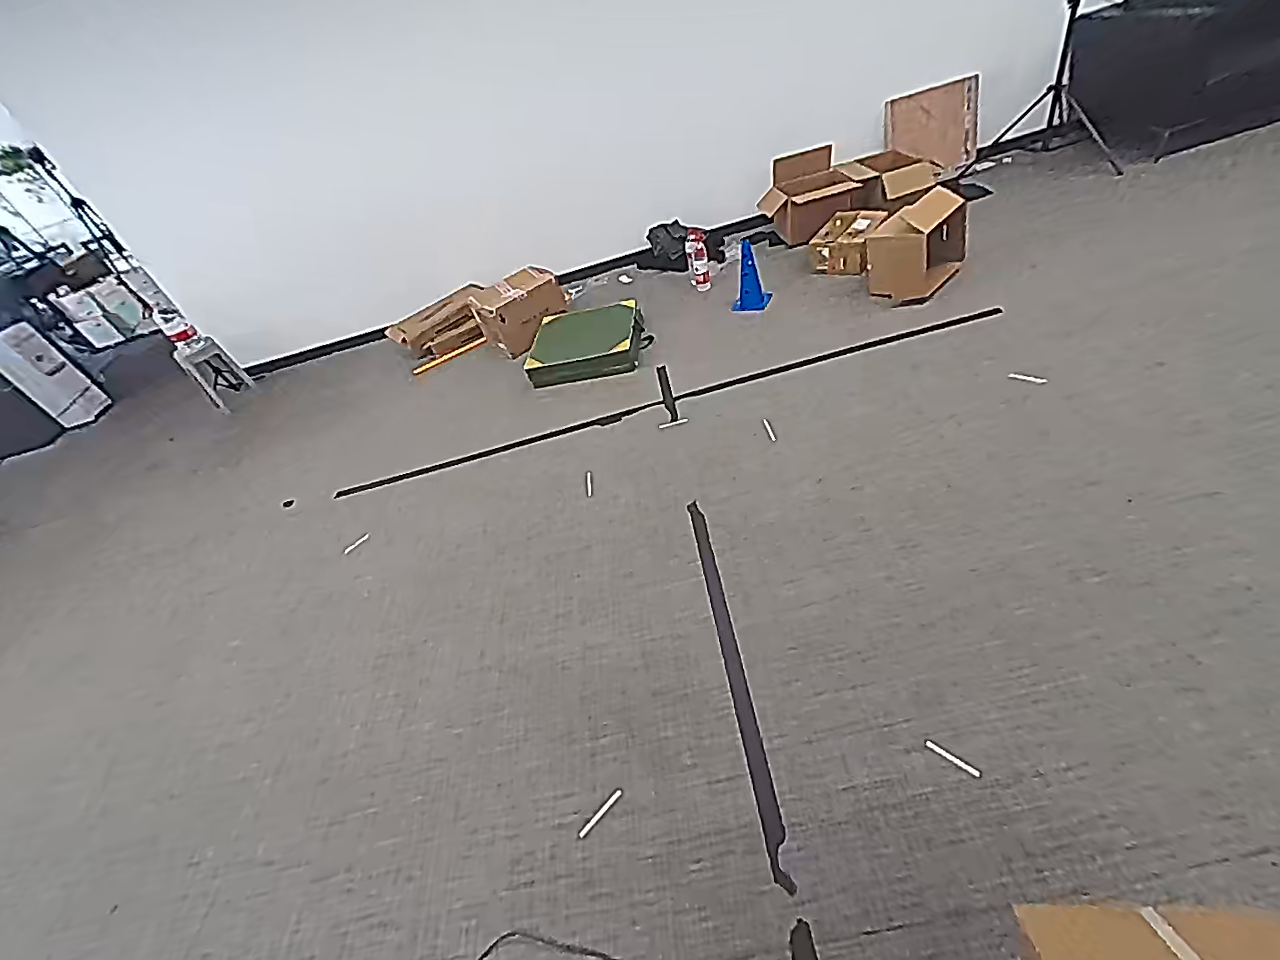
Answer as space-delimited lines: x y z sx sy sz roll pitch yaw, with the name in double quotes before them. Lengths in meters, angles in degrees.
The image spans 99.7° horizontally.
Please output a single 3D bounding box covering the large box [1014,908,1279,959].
"large box" 0.631 0.708 0.505 0.320 0.408 0.320 -9 86 13
